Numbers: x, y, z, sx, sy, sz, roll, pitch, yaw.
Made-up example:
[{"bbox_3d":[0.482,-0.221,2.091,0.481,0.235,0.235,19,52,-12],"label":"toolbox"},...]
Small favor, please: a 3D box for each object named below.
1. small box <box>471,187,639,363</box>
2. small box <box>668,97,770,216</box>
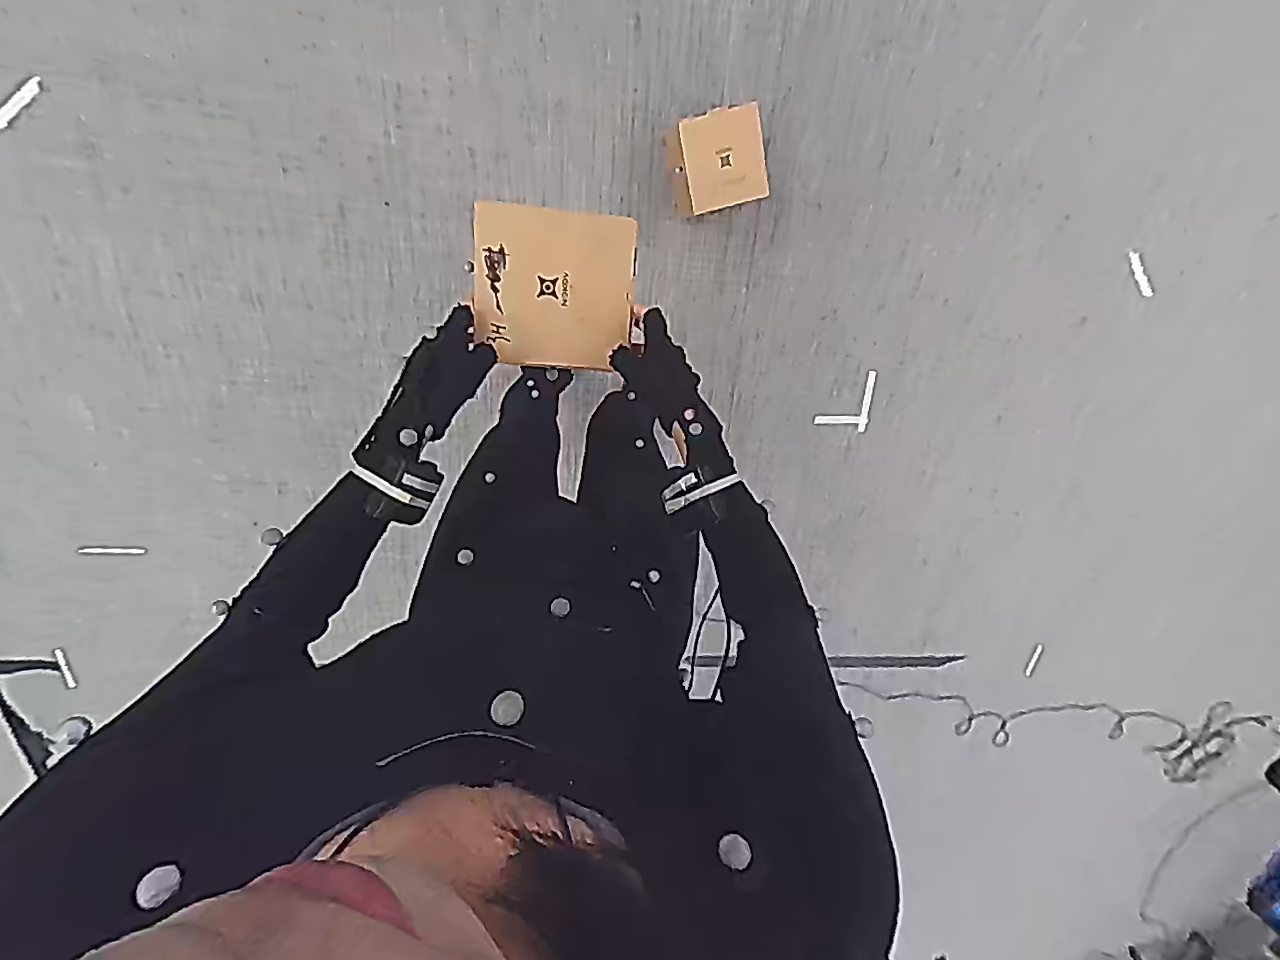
[{"bbox_3d":[-0.106,-0.233,0.662,0.179,0.176,0.168,2,100,-10],"label":"small box"},{"bbox_3d":[0.165,-0.683,1.161,0.168,0.176,0.179,-15,115,1],"label":"small box"}]
